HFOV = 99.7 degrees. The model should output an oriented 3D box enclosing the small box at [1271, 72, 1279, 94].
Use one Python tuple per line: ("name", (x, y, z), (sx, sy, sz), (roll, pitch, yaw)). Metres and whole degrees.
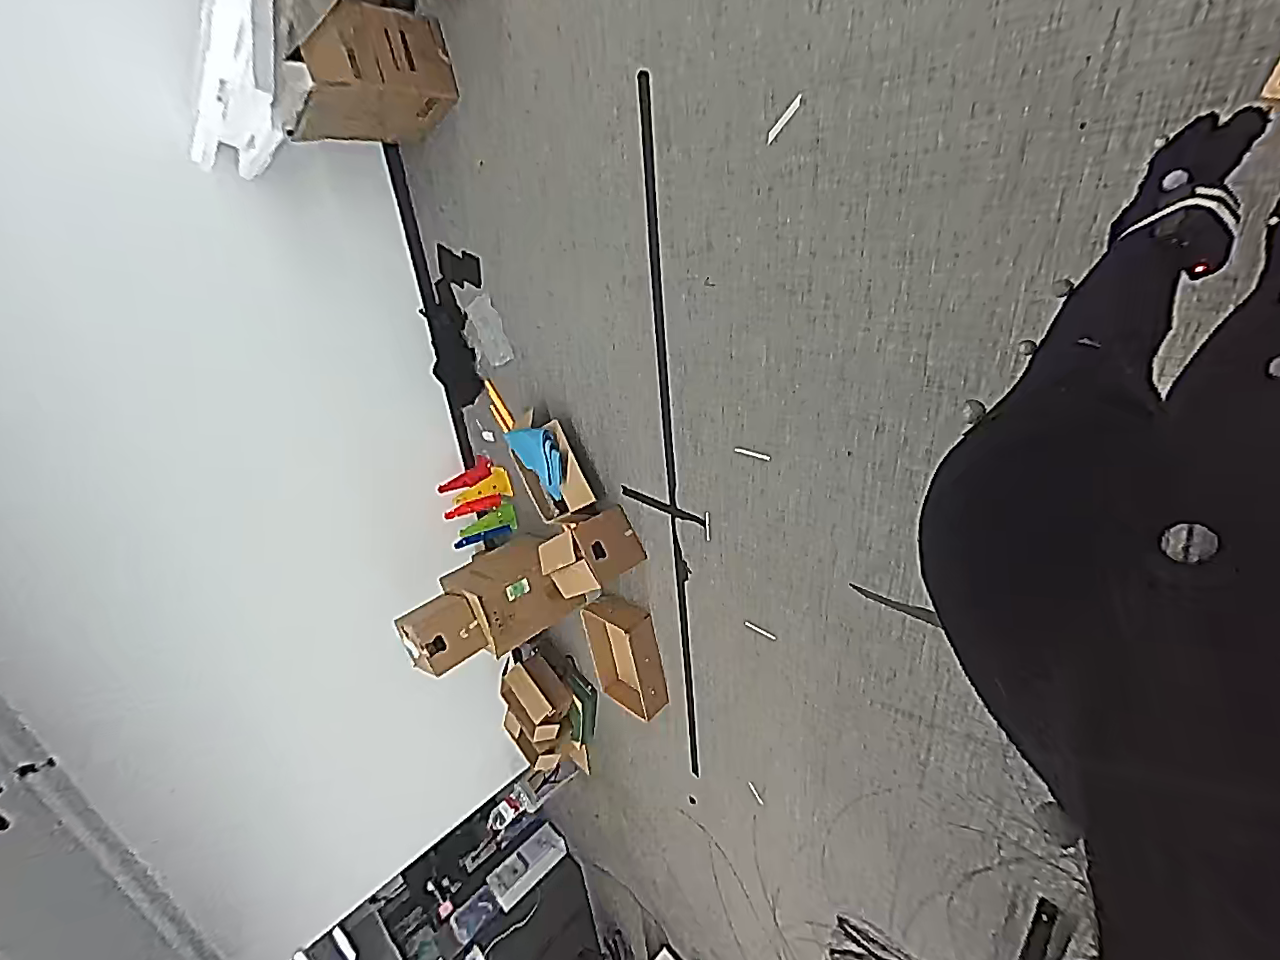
("small box", (1.046, -0.632, 0.744), (0.179, 0.176, 0.168), (33, 133, 35))
